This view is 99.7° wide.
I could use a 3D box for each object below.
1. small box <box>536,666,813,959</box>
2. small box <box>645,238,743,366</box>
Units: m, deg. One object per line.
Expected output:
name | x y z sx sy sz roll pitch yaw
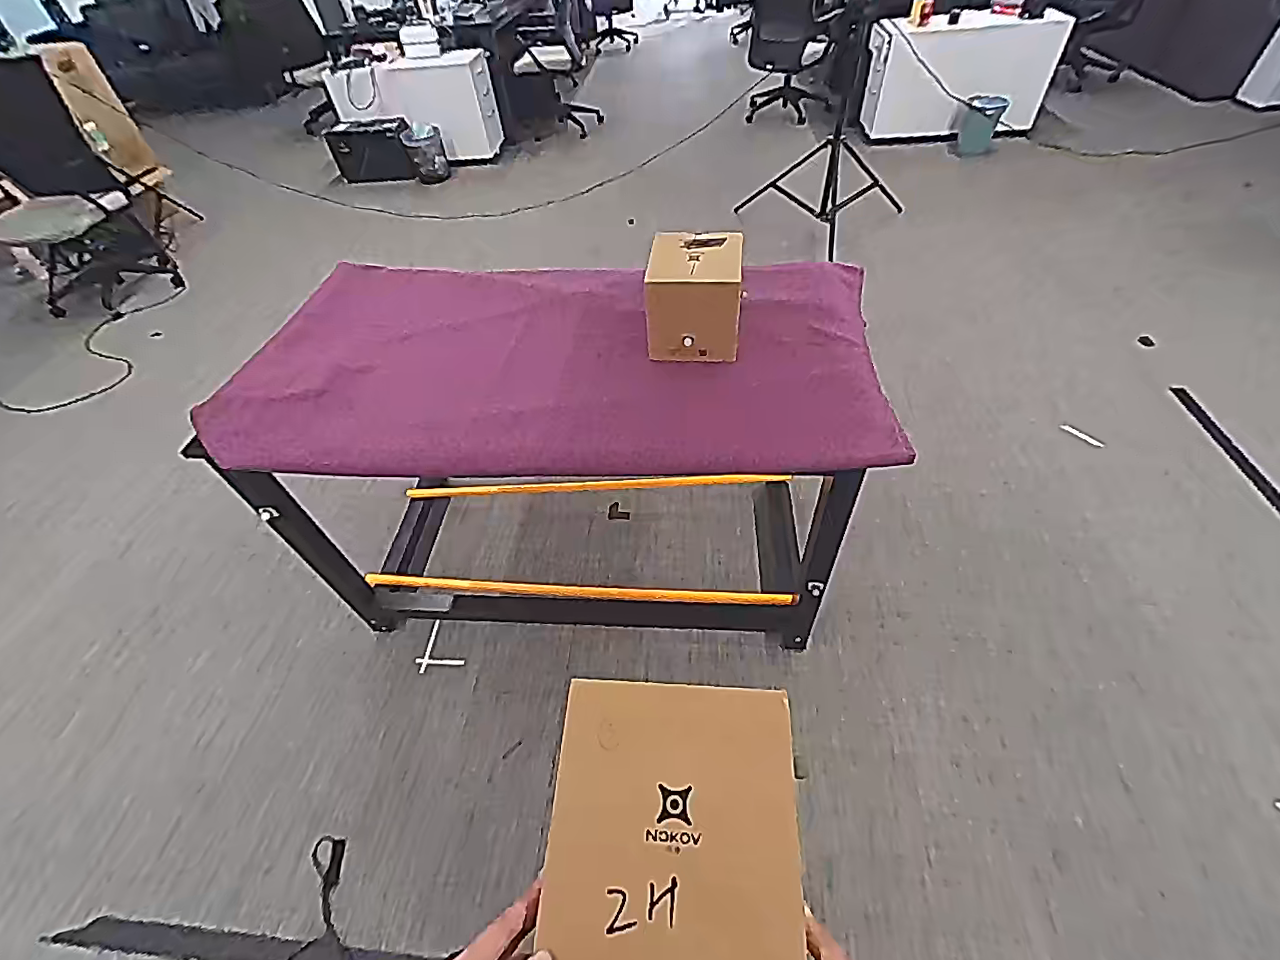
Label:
small box | 0.032 0.264 0.425 0.168 0.176 0.179 1 55 7
small box | 0.105 -0.339 1.028 0.168 0.176 0.179 3 50 8
